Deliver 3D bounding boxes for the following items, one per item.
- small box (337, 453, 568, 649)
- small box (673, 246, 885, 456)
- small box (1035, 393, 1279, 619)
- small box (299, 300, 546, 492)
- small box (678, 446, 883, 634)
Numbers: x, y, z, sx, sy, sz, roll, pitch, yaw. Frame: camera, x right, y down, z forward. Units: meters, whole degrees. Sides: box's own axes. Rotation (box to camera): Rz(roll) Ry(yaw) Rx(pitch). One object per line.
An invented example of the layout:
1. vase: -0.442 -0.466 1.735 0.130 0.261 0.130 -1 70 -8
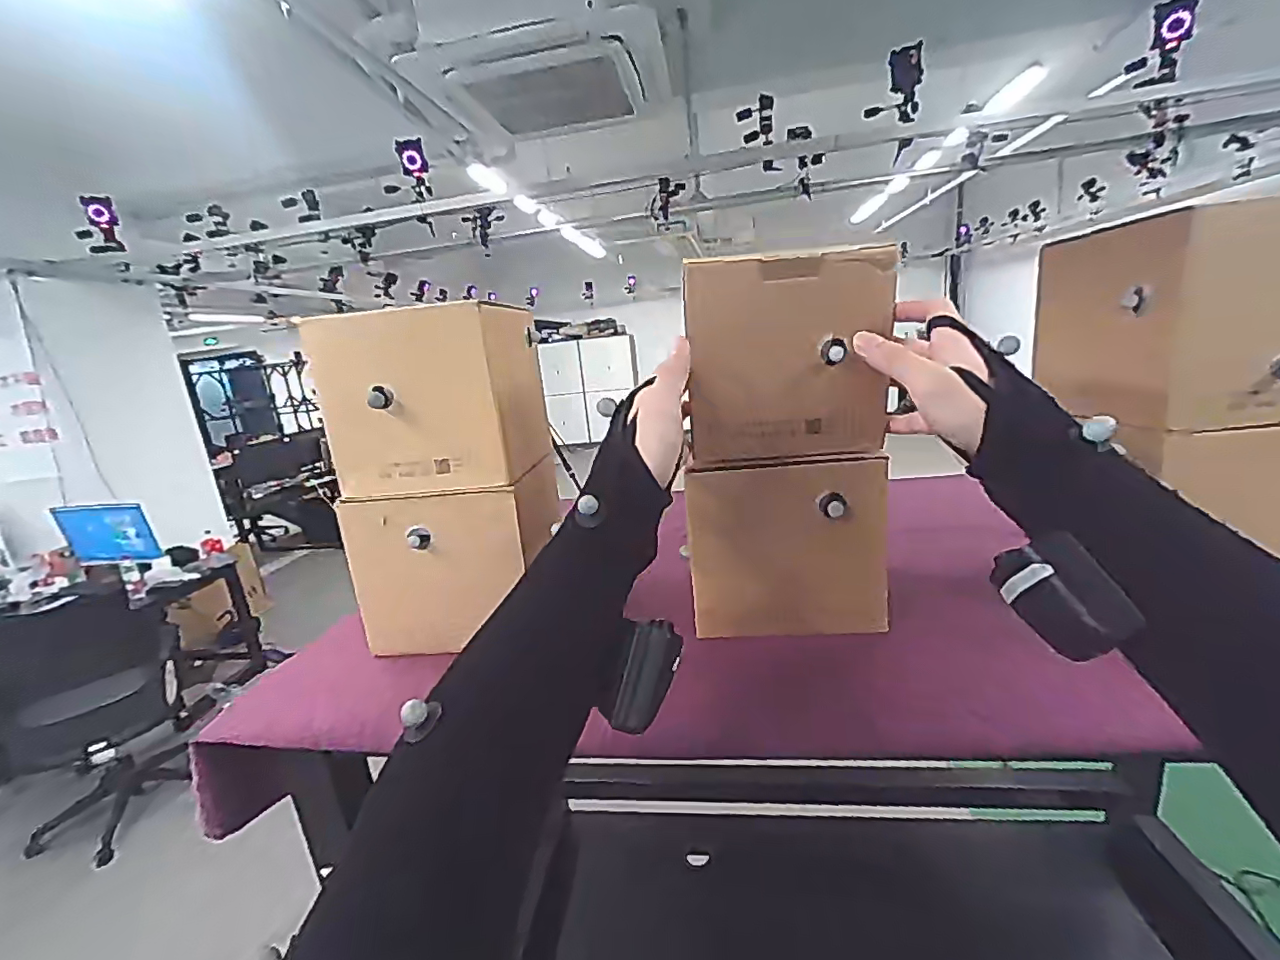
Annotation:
1. small box: -0.190 0.073 0.599 0.179 0.176 0.168 -4 15 6
2. small box: 0.122 -0.124 0.522 0.168 0.176 0.179 -3 21 6
3. small box: 0.506 0.017 0.502 0.179 0.176 0.168 -4 12 8
4. small box: -0.205 -0.085 0.567 0.168 0.176 0.179 -5 14 6
5. small box: 0.138 0.045 0.561 0.179 0.176 0.168 -5 14 9
